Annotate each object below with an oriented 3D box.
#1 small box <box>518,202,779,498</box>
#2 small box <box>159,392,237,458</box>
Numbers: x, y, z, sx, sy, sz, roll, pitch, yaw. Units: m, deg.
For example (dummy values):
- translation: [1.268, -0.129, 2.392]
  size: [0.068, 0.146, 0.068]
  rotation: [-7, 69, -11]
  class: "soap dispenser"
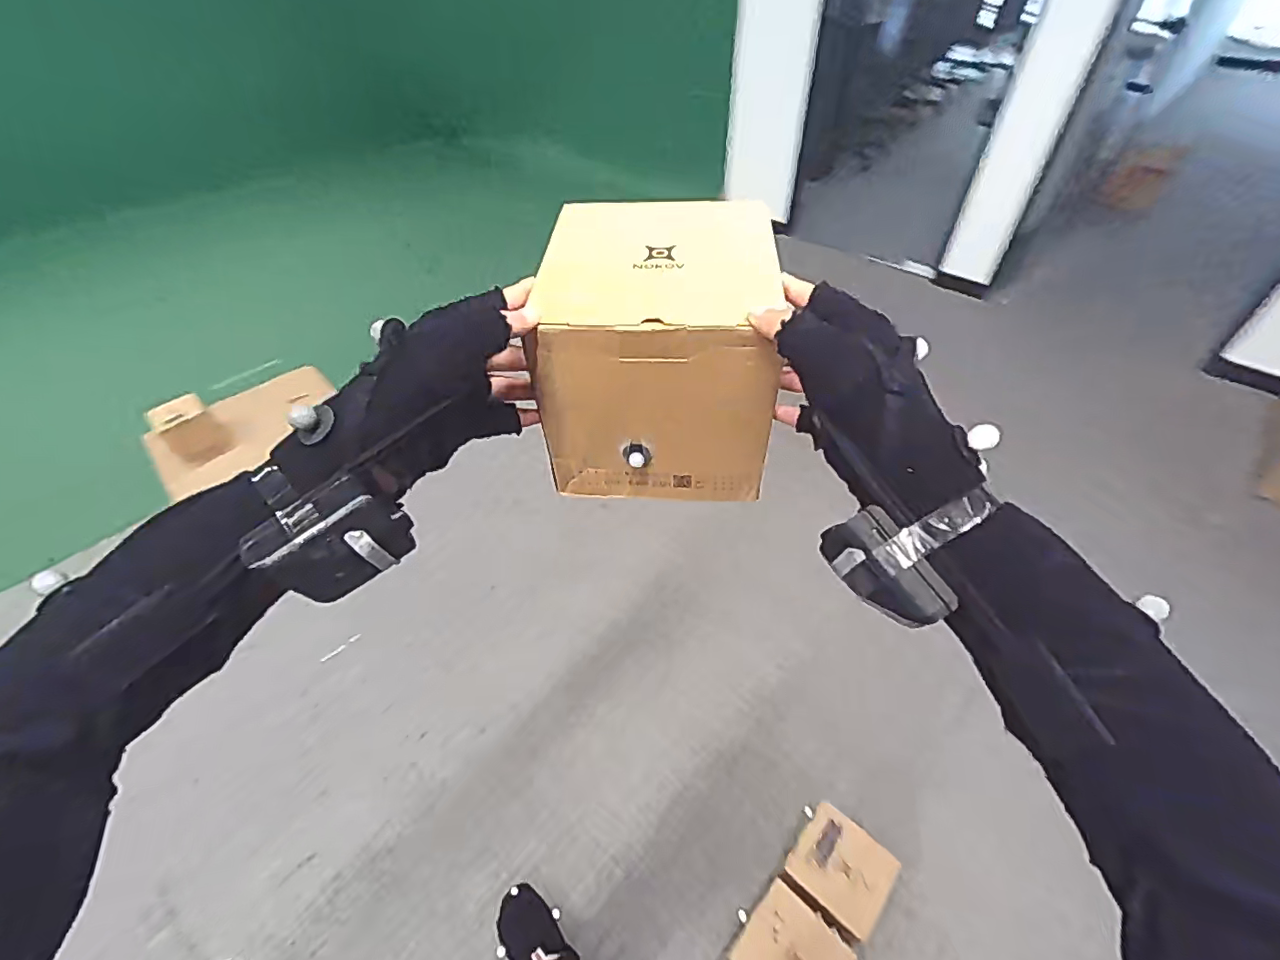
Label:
- translation: [0.011, -0.107, 0.446]
  size: [0.168, 0.176, 0.179]
  rotation: [1, 50, 4]
  class: "small box"
- translation: [-1.748, -0.212, 2.143]
  size: [0.168, 0.176, 0.179]
  rotation: [-35, 54, -26]
  class: "small box"
